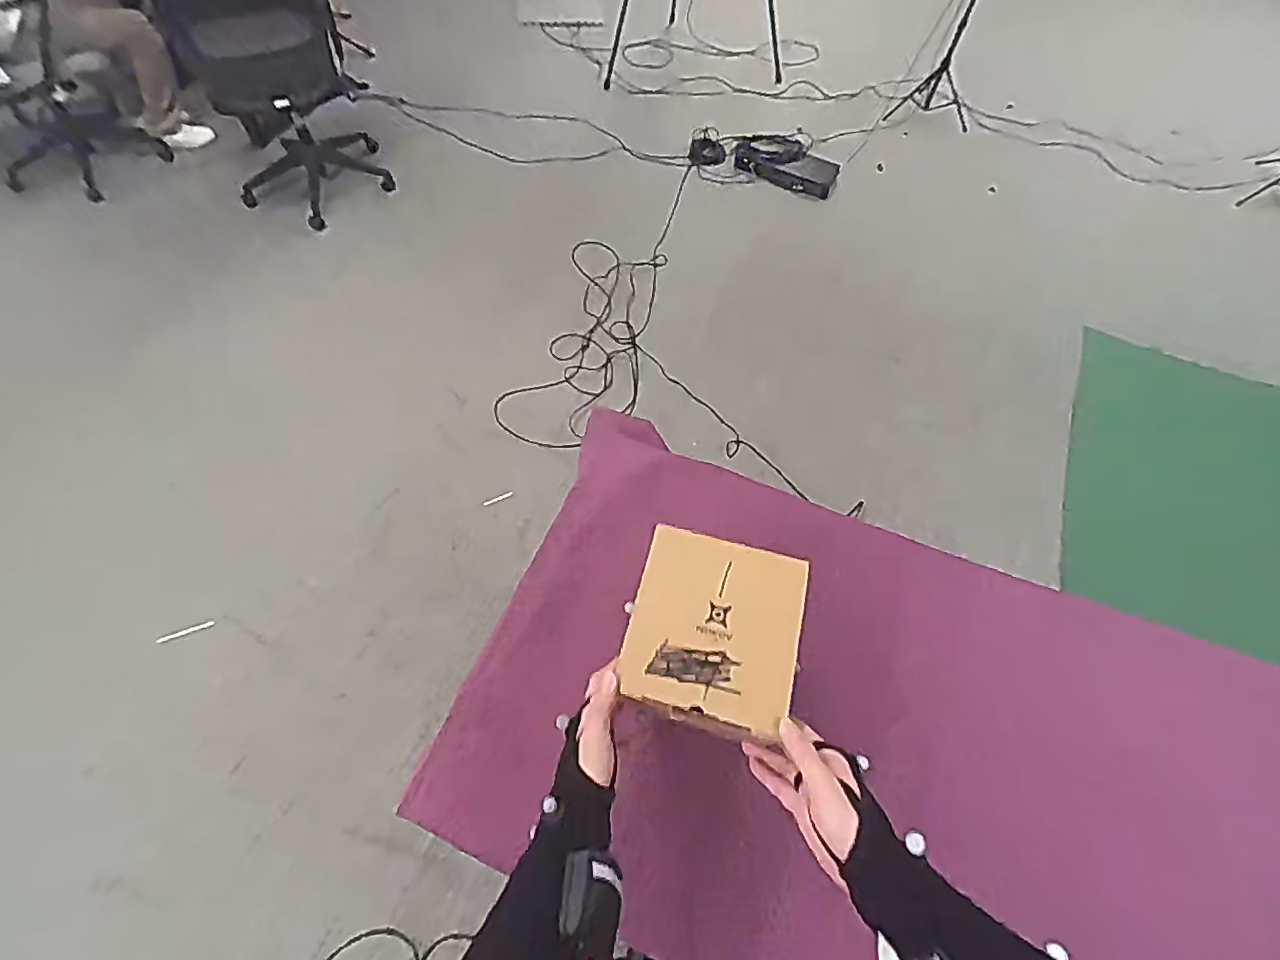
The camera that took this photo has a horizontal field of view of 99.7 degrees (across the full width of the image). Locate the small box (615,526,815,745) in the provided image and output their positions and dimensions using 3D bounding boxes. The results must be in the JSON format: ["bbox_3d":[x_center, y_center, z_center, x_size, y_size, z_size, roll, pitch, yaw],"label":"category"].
[{"bbox_3d":[0.079,0.178,0.601,0.168,0.176,0.179,15,65,7],"label":"small box"}]
